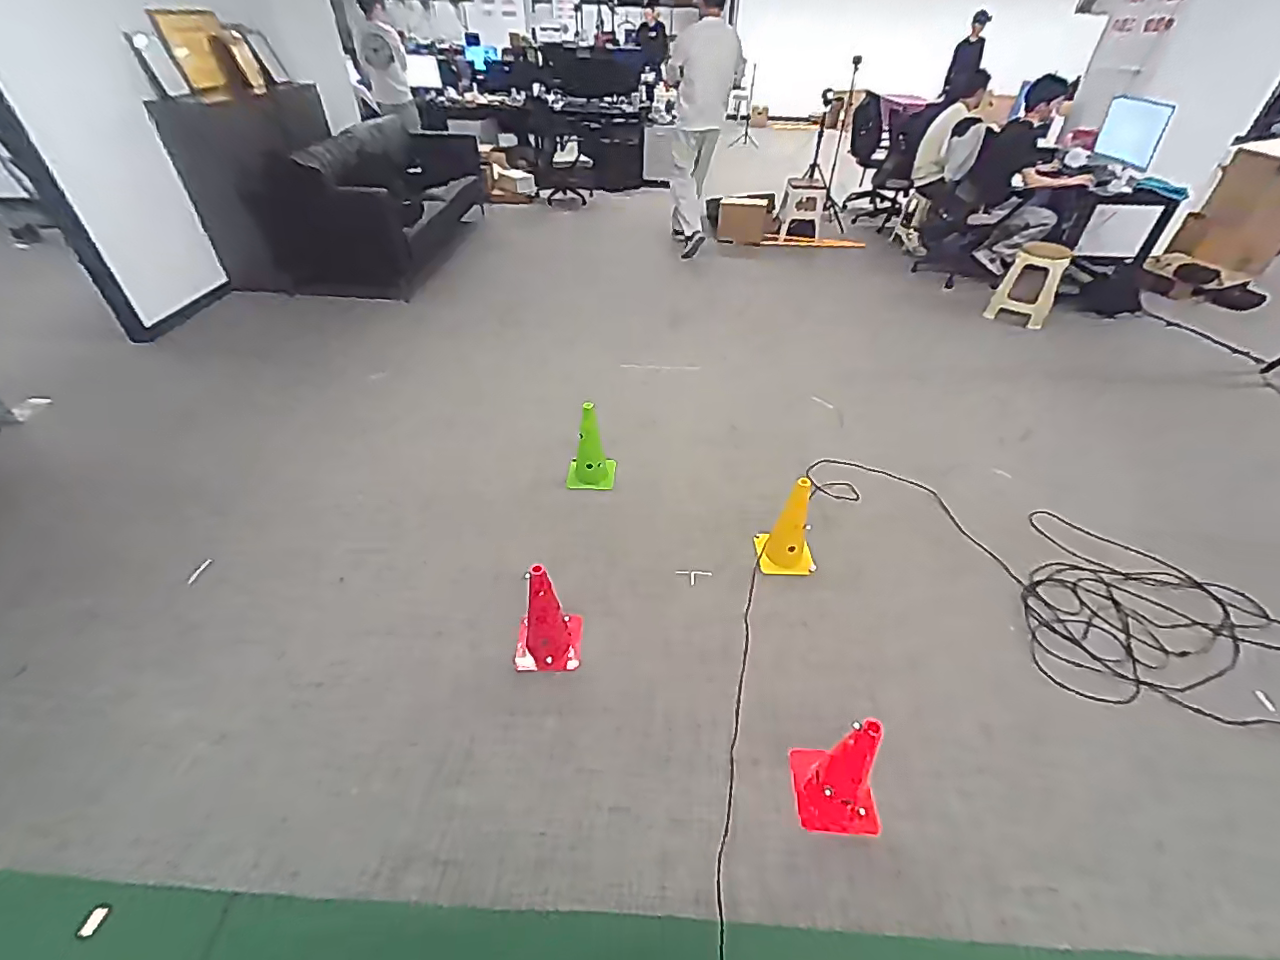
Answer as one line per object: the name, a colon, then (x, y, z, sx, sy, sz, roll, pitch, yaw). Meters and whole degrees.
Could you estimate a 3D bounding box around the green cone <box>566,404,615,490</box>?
green cone: (-0.207, -0.153, 2.250, 0.202, 0.368, 0.200, 2, 41, 0)

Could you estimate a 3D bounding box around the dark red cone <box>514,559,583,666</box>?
dark red cone: (-0.280, 0.370, 1.588, 0.202, 0.394, 0.201, -1, 41, -3)

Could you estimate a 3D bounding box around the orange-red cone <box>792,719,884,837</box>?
orange-red cone: (0.505, 0.670, 1.286, 0.198, 0.360, 0.199, 3, 39, 1)
